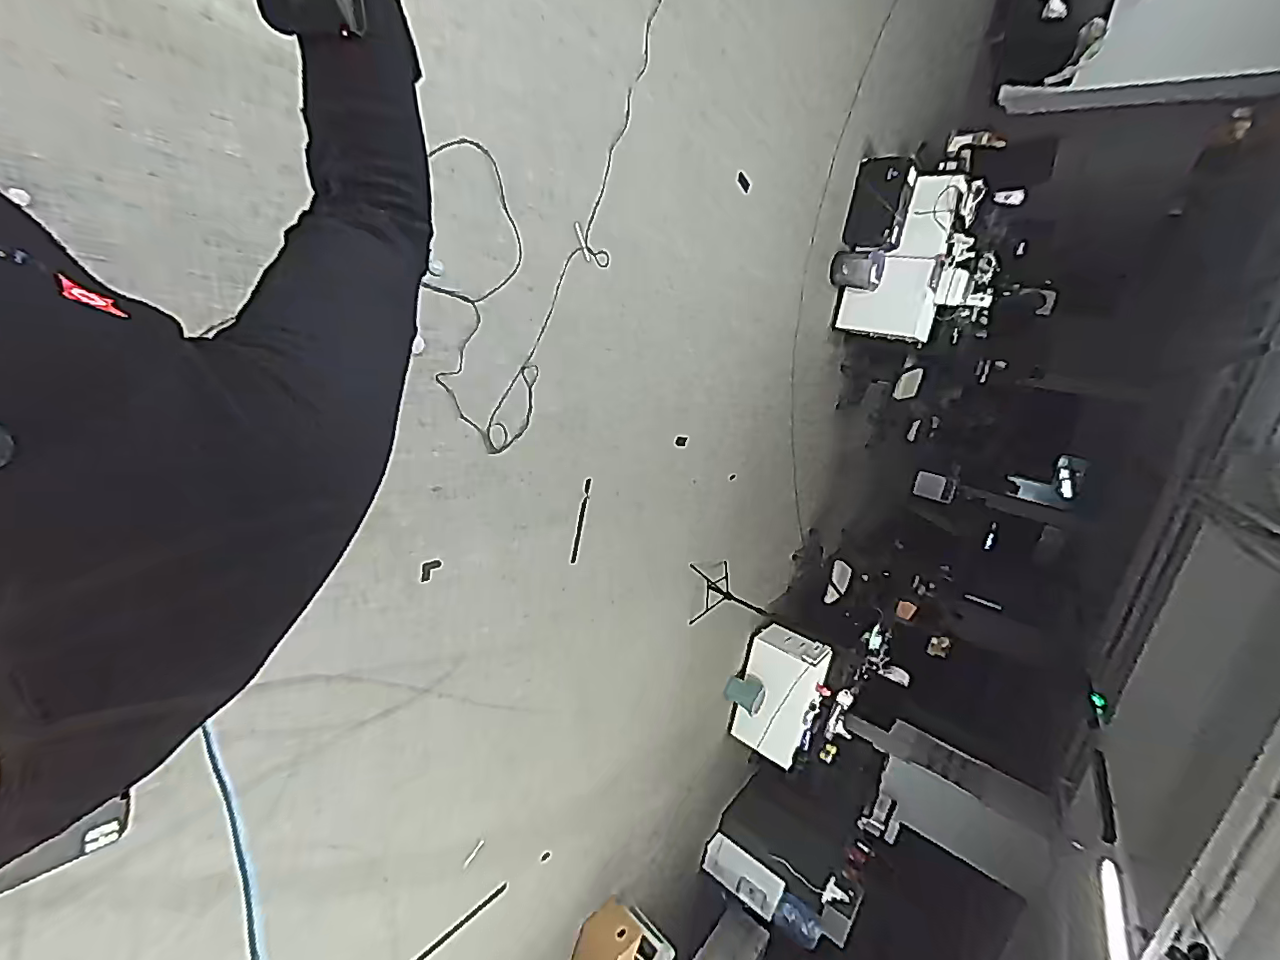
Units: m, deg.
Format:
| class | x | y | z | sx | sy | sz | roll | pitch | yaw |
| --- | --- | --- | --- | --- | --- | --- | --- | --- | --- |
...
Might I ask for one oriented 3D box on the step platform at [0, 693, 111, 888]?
| class | x | y | z | sx | sy | sz | roll | pitch | yaw |
| --- | --- | --- | --- | --- | --- | --- | --- | --- | --- |
| step platform | -1.390 | 0.661 | 0.933 | 0.684 | 0.204 | 0.286 | -11 | 116 | -50 |
